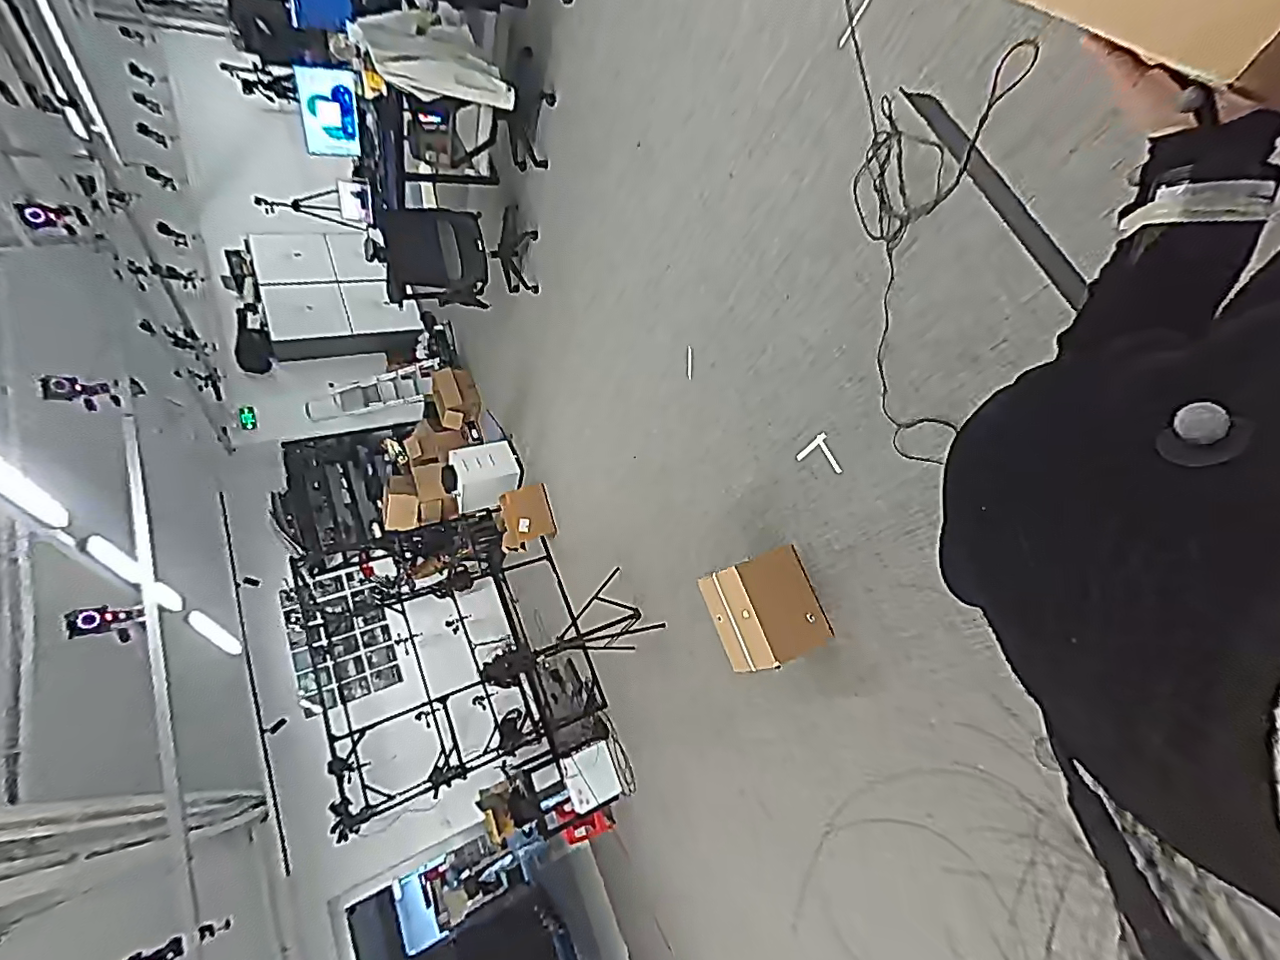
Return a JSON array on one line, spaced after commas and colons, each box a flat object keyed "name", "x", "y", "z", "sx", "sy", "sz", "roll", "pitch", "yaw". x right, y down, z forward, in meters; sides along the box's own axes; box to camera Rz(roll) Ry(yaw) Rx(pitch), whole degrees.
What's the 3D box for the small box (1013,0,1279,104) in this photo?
[{"name": "small box", "x": 0.318, "y": -0.305, "z": 0.258, "sx": 0.179, "sy": 0.176, "sz": 0.168, "roll": 62, "pitch": 149, "yaw": 31}]
